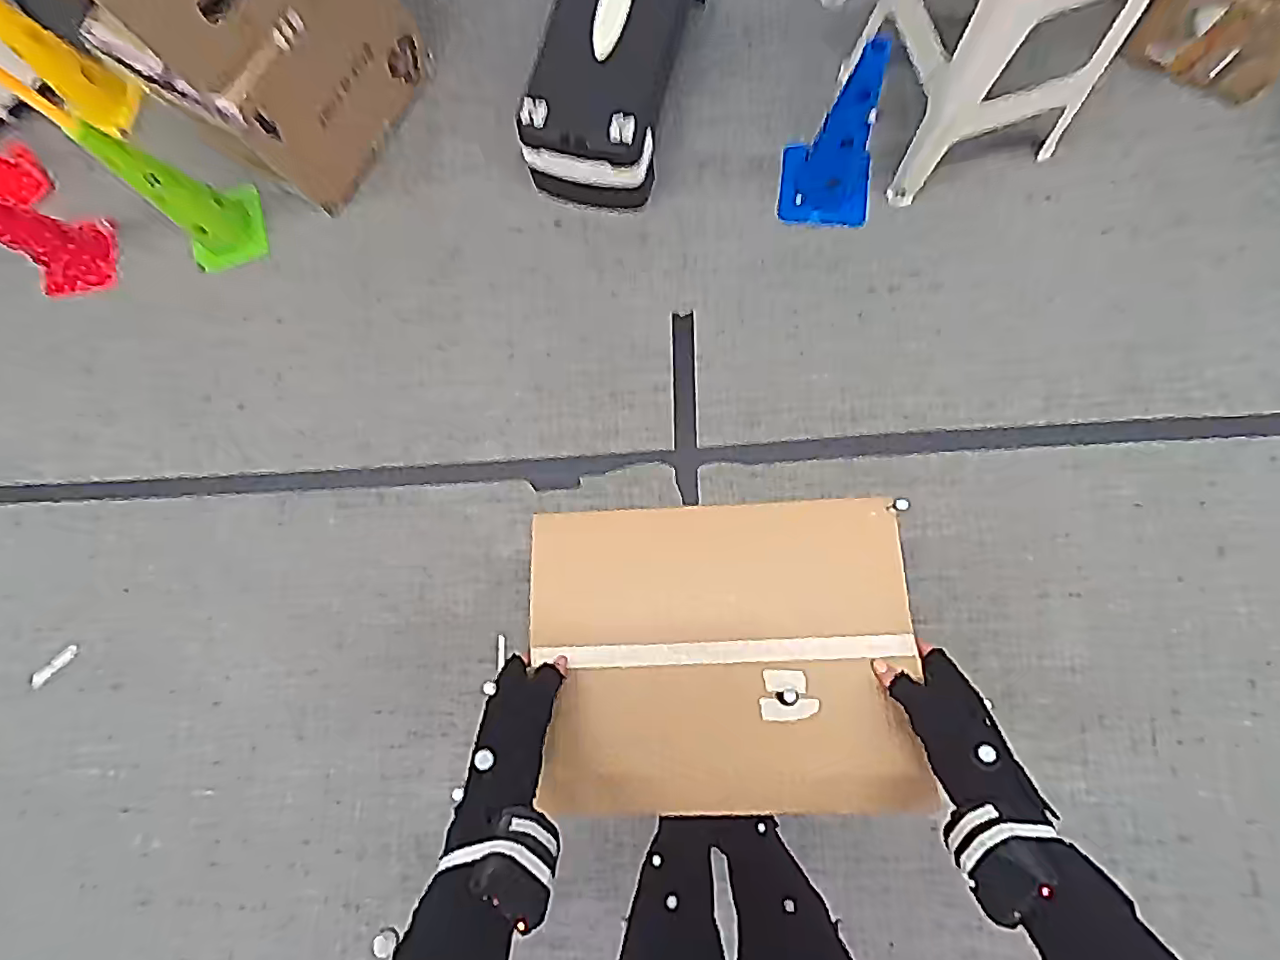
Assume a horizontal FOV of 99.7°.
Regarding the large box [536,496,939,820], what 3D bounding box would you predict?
[{"bbox_3d":[0.096,0.217,0.714,0.408,0.320,0.320,-4,77,4],"label":"large box"}]
